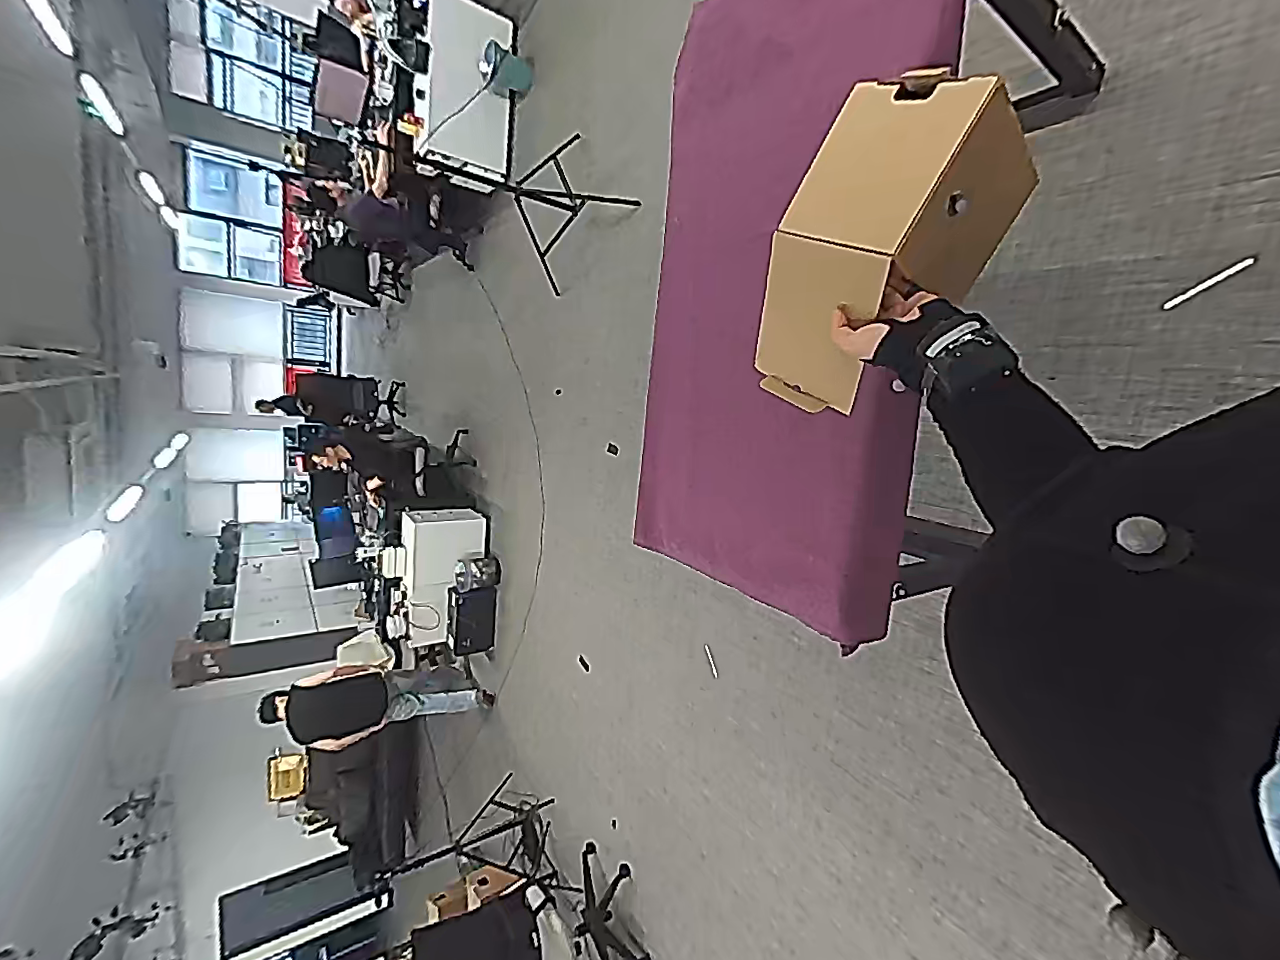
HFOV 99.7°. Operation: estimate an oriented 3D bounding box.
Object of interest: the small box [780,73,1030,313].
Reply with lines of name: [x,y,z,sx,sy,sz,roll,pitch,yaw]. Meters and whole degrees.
small box: [0.303,-0.317,0.619,0.168,0.176,0.179,43,109,45]
